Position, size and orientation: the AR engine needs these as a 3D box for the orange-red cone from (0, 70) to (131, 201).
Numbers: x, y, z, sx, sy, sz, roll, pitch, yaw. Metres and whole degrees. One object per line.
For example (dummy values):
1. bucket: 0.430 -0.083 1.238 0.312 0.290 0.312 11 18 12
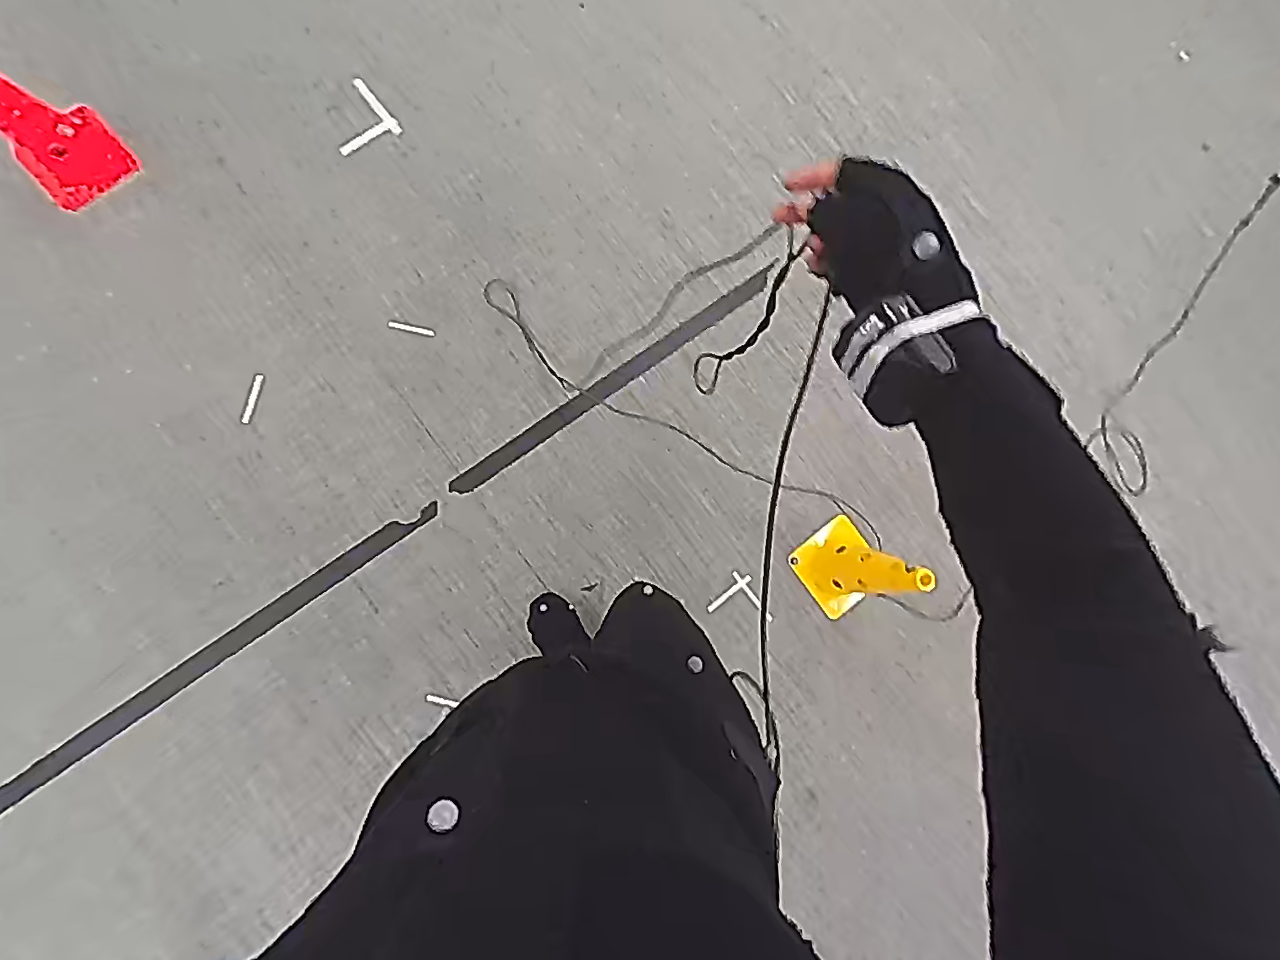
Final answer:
1. orange-red cone: -1.300 -0.778 1.085 0.199 0.360 0.198 -41 90 -7
